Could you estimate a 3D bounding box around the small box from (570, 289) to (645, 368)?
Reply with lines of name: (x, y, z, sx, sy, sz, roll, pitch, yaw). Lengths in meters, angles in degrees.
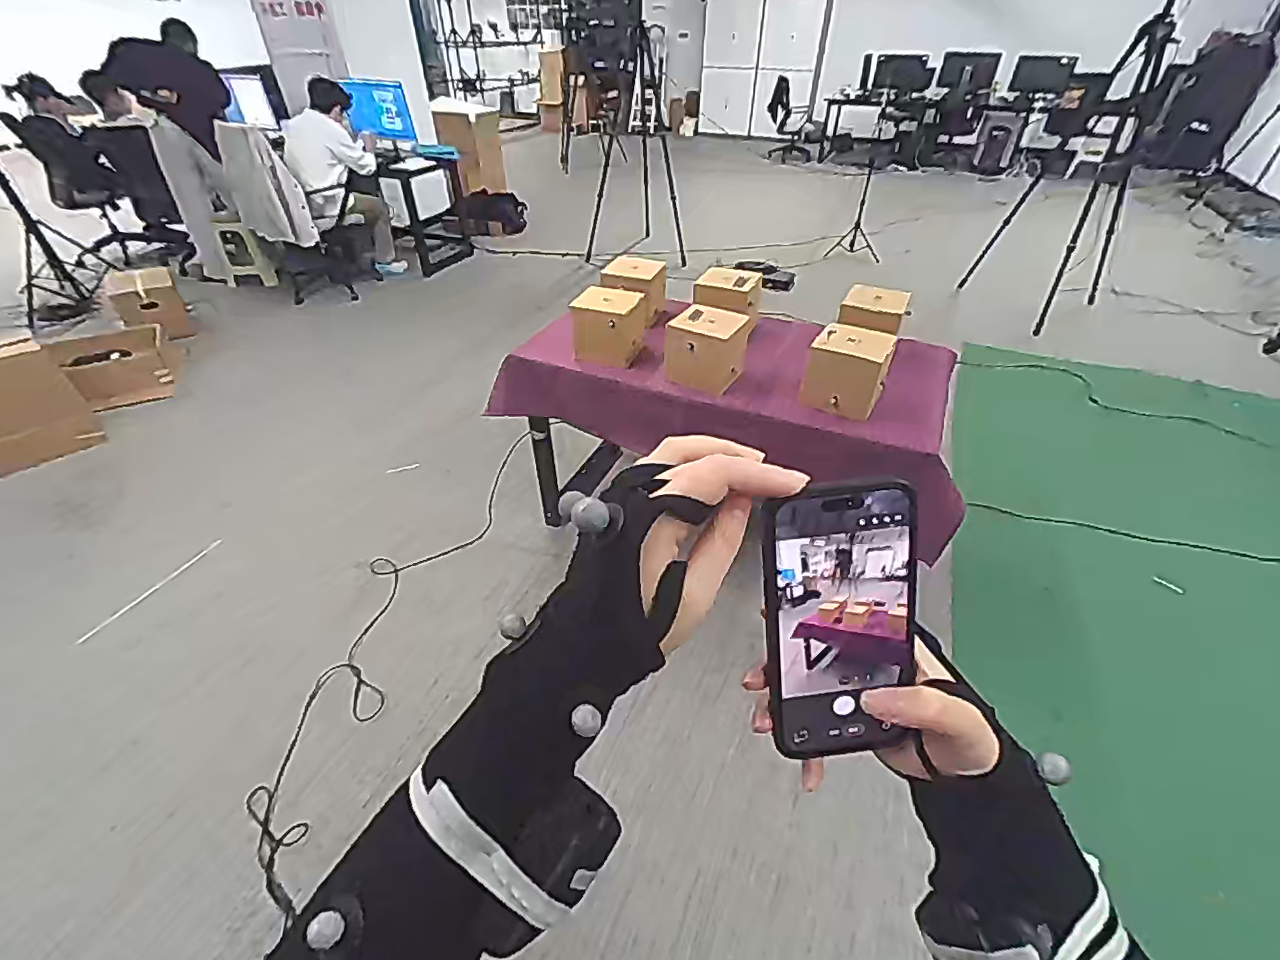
small box: (-0.093, -0.451, 1.609, 0.179, 0.176, 0.168, 13, 41, 14)

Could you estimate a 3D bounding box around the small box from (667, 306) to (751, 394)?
small box: (0.184, -0.358, 1.496, 0.179, 0.176, 0.168, 22, 45, 23)

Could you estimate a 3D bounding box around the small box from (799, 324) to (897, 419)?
small box: (0.533, -0.278, 1.399, 0.179, 0.176, 0.168, 22, 44, 24)

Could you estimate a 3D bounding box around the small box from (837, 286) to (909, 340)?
small box: (0.681, -0.456, 1.611, 0.168, 0.176, 0.179, 19, 44, 22)
